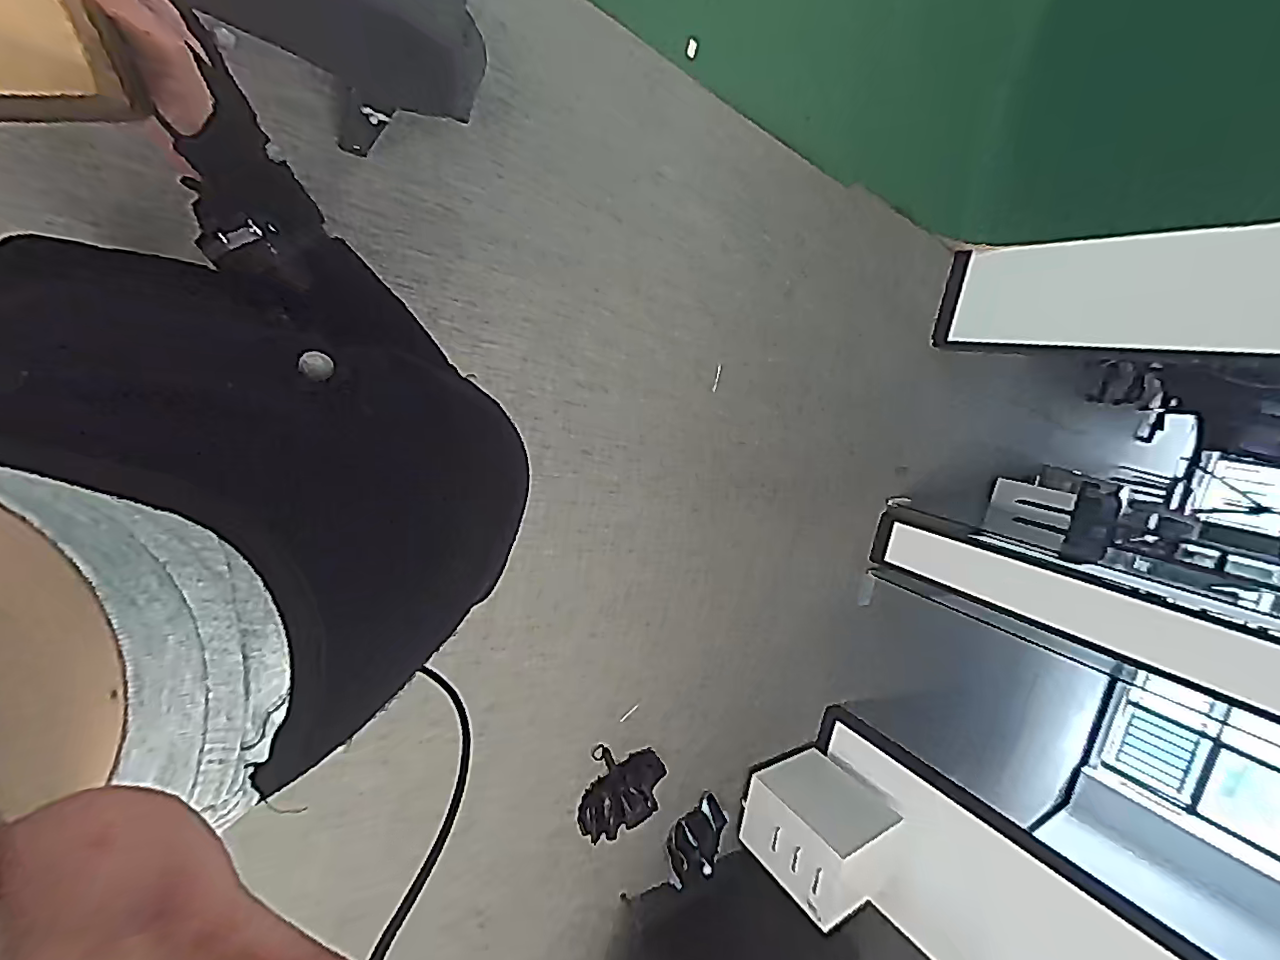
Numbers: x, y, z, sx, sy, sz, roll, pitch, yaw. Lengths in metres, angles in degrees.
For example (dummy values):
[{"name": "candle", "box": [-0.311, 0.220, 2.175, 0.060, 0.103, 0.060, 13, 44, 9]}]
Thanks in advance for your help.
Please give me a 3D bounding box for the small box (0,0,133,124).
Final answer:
[{"name": "small box", "box": [-0.384, -0.273, 0.248, 0.168, 0.176, 0.179, -19, 126, -26]}]
